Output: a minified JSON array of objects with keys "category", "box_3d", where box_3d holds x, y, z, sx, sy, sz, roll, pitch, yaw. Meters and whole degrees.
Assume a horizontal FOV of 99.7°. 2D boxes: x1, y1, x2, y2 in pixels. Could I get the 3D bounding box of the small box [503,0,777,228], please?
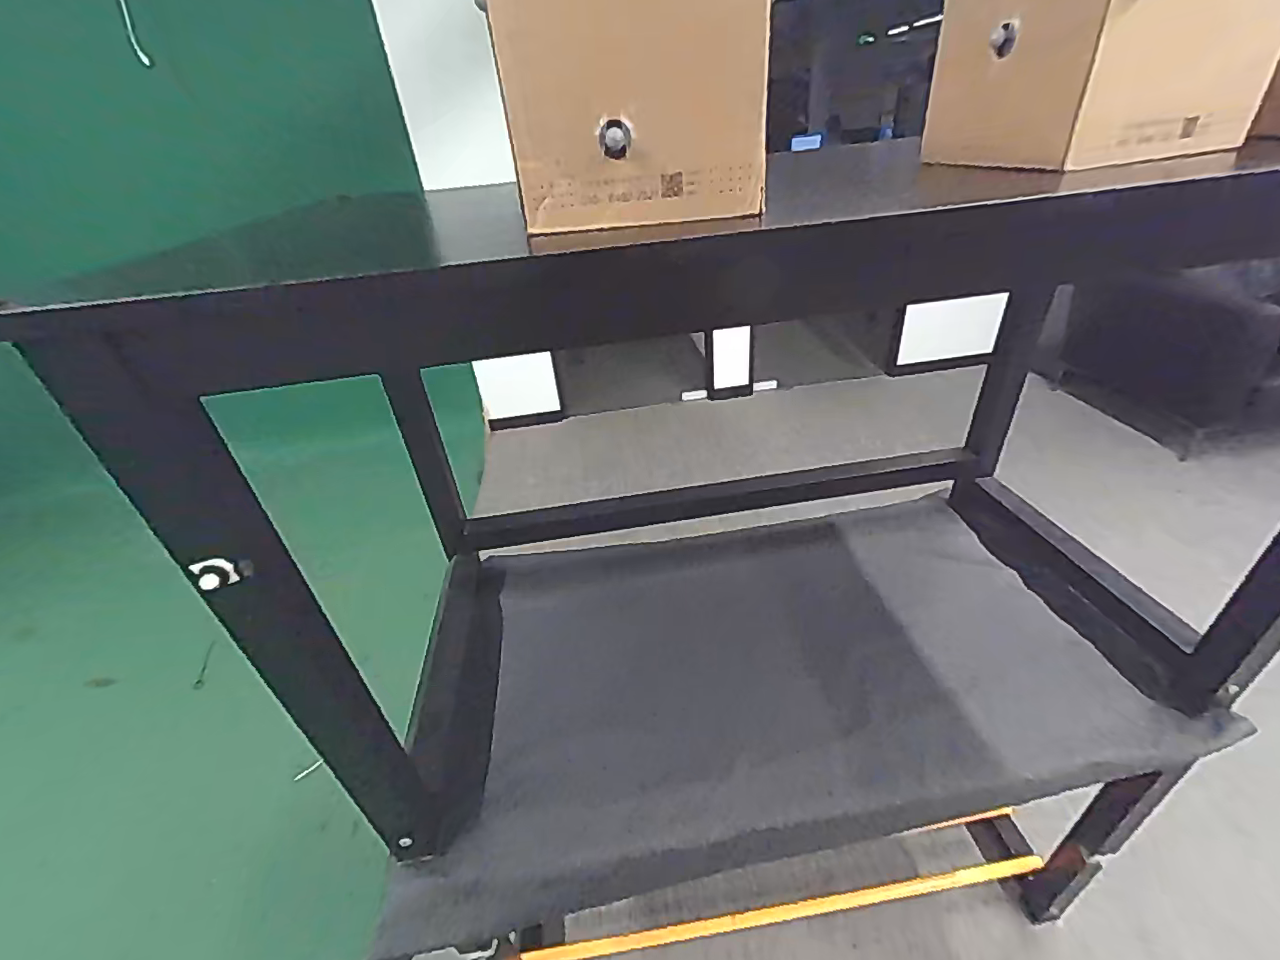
[{"category":"small box","box_3d":[0.002,-0.292,0.405,0.168,0.176,0.179,-3,33,3]}]
